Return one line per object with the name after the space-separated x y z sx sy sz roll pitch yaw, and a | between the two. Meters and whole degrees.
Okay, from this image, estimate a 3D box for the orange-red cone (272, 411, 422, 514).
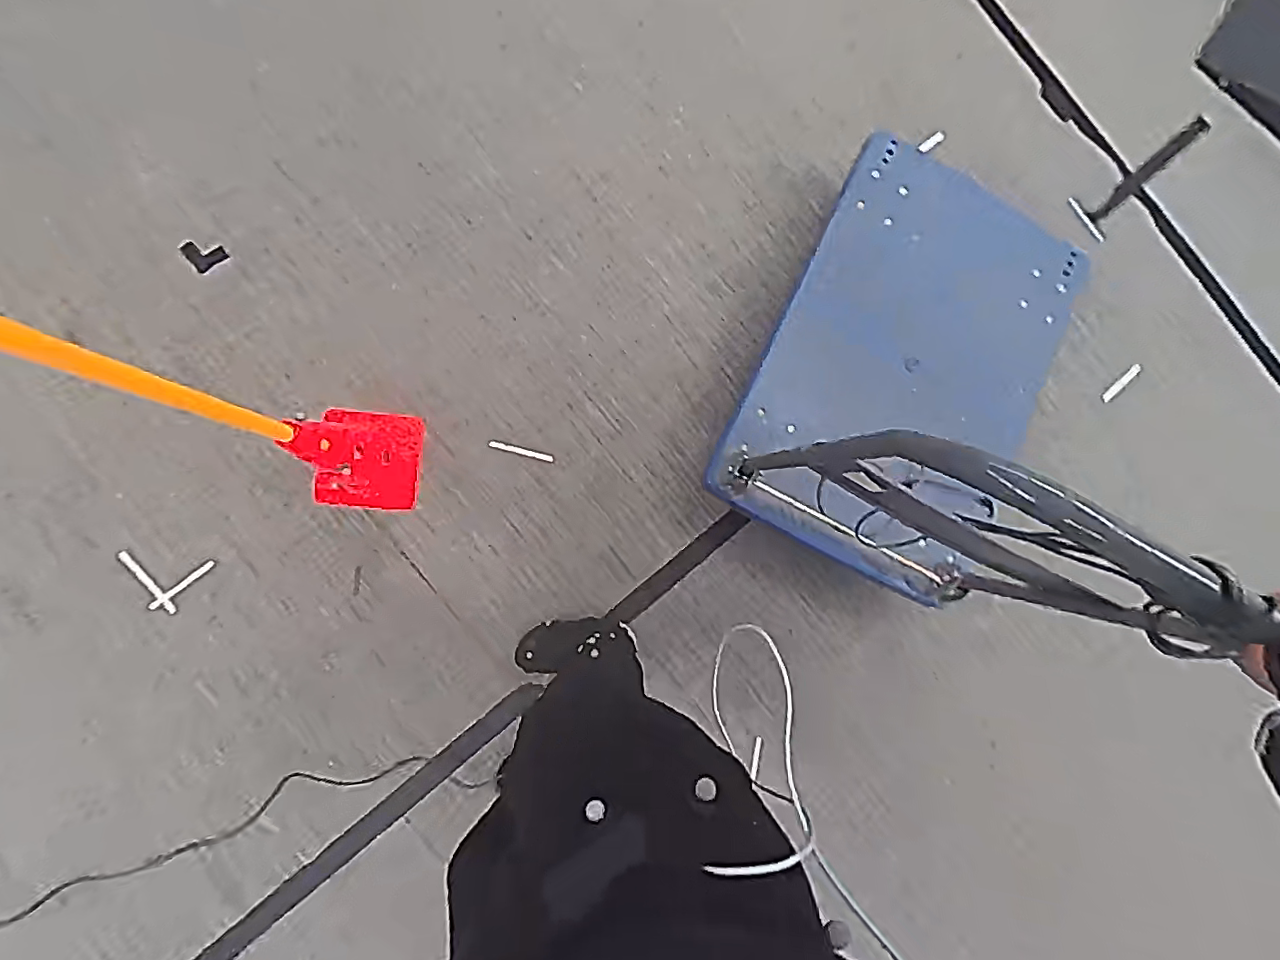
-0.531 -0.048 0.941 0.199 0.360 0.198 7 85 -9 | orange-red cone
